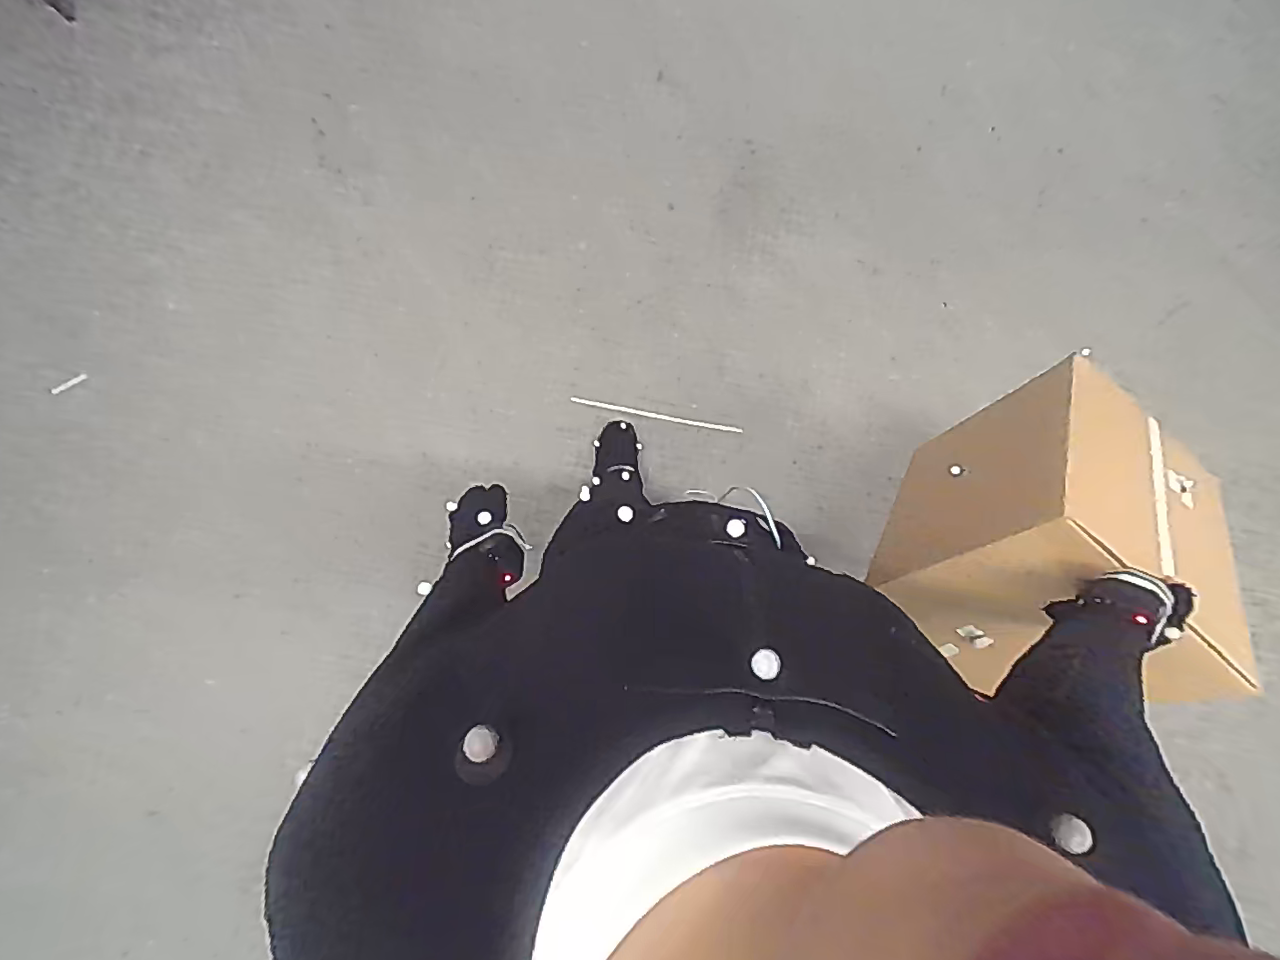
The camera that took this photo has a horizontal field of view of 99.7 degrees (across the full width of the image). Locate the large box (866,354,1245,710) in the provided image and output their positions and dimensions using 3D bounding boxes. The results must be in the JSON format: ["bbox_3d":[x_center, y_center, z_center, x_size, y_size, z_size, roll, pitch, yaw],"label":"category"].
[{"bbox_3d":[0.623,0.085,0.859,0.320,0.320,0.408,42,52,-2],"label":"large box"}]
